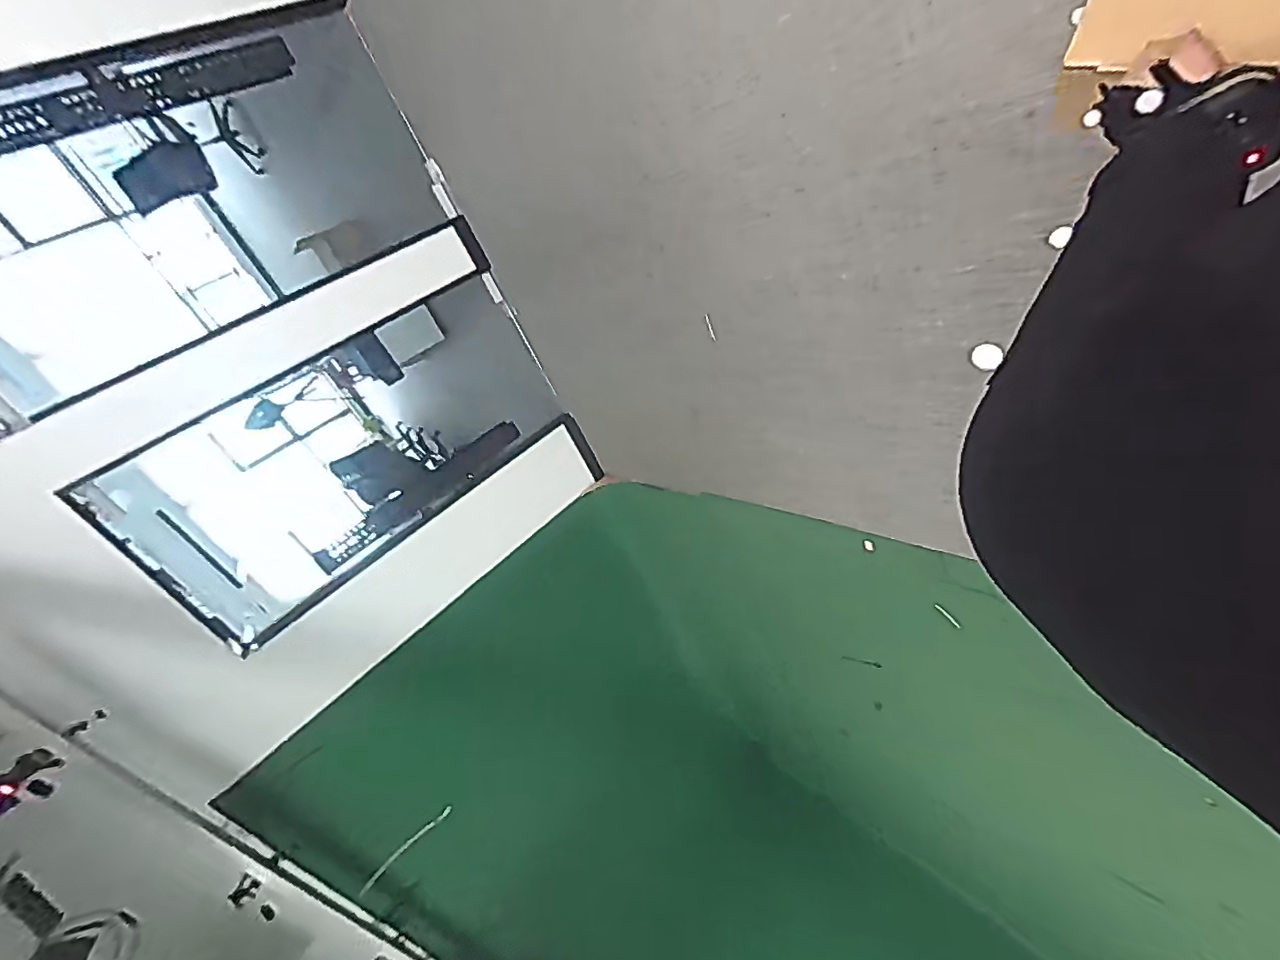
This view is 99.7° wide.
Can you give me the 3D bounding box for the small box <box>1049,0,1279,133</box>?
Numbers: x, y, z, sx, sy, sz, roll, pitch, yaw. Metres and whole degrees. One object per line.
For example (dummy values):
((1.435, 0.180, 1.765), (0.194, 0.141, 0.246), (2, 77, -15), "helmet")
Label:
((0.529, -0.457, 0.517), (0.168, 0.179, 0.176), (23, 113, 28), "small box")
